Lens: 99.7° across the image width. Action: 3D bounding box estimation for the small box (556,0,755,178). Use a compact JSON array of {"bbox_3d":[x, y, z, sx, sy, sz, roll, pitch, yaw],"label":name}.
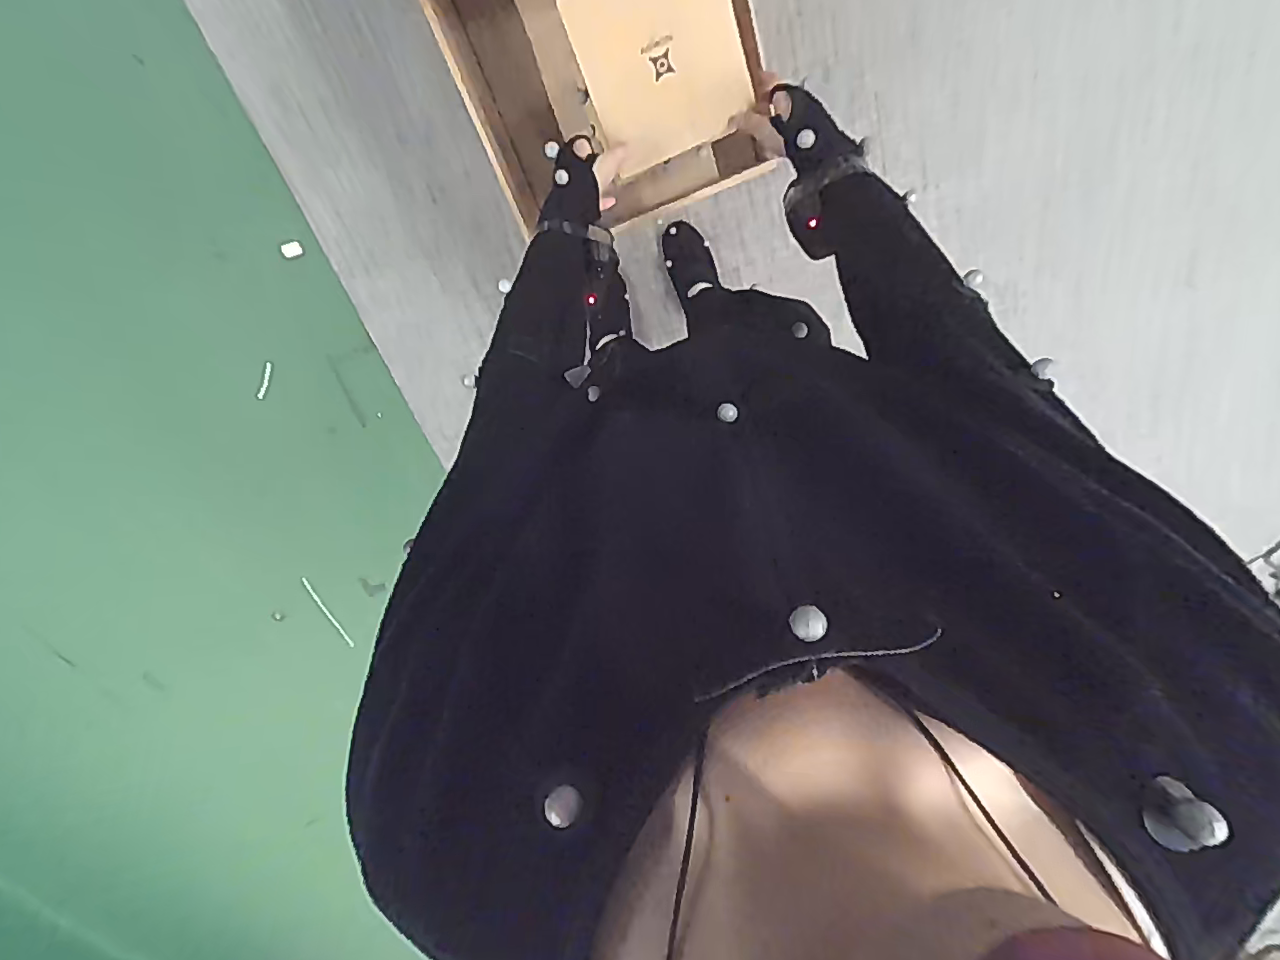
[{"bbox_3d":[0.022,-0.478,0.632,0.168,0.176,0.179,-20,116,10],"label":"small box"}]
